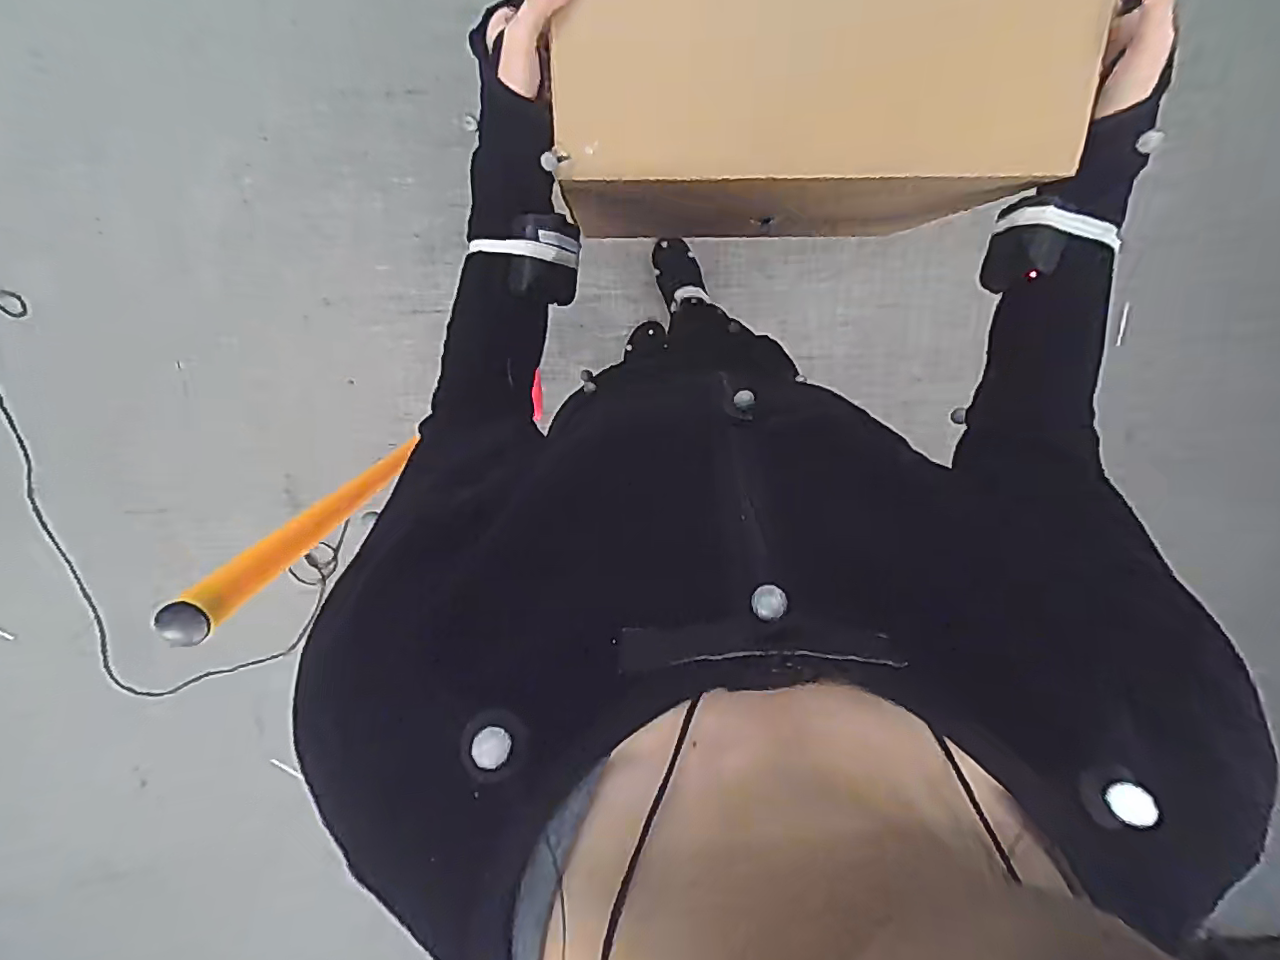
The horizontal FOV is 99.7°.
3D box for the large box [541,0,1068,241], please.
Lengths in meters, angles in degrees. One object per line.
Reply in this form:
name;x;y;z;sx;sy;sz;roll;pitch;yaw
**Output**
large box;0.122;-0.427;0.537;0.408;0.320;0.320;-2;106;-1
